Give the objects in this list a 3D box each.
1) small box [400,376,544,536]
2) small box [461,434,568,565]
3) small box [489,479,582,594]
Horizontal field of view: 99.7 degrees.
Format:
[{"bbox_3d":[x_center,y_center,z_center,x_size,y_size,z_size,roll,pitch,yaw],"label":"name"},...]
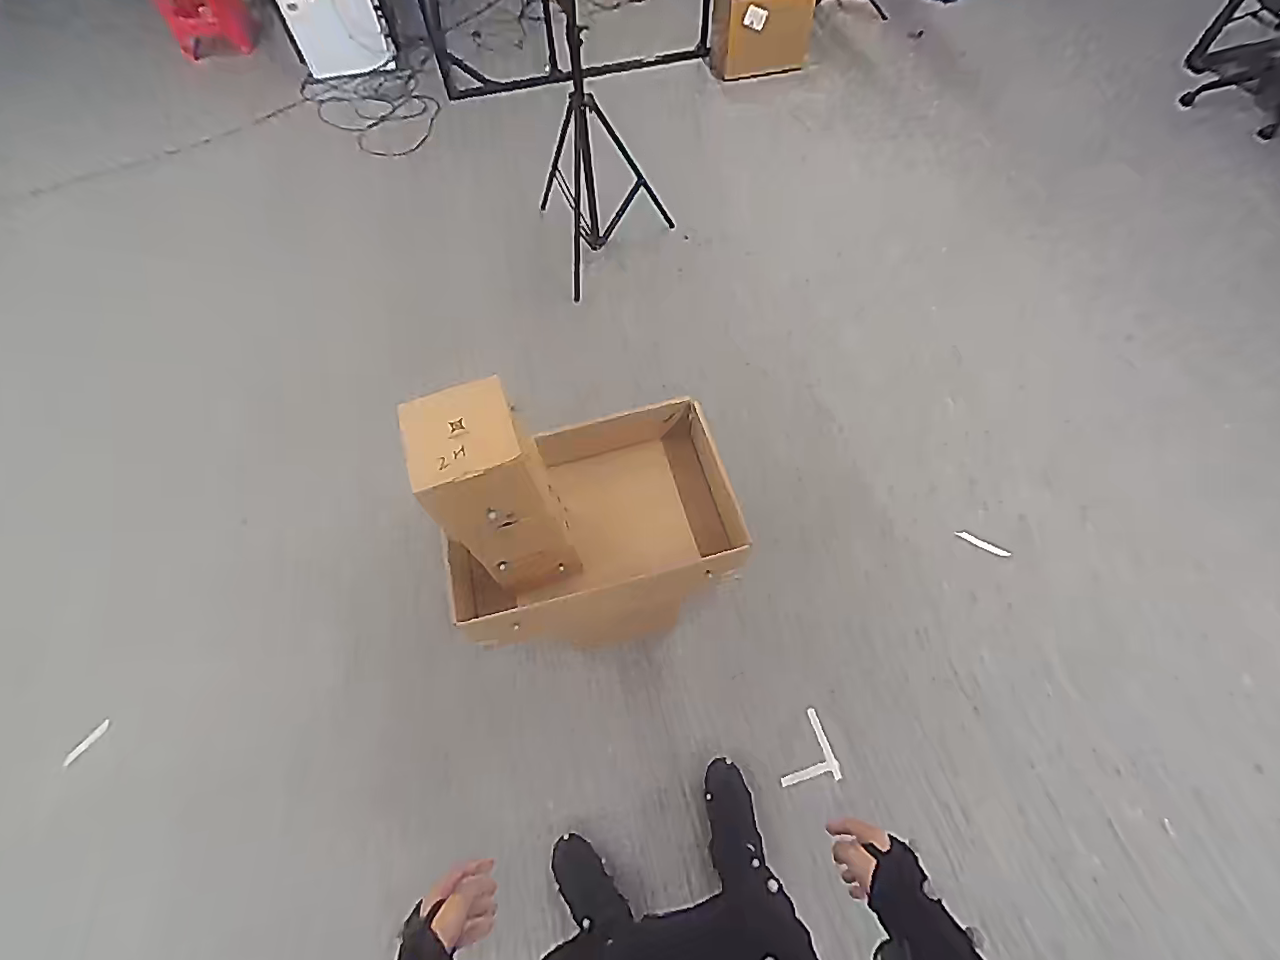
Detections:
[{"bbox_3d":[-0.269,-0.035,0.888,0.168,0.176,0.179,-19,61,-7],"label":"small box"},{"bbox_3d":[-0.246,0.047,1.030,0.168,0.176,0.179,-18,61,-6],"label":"small box"},{"bbox_3d":[-0.232,0.127,1.172,0.179,0.176,0.168,-19,62,-6],"label":"small box"}]
